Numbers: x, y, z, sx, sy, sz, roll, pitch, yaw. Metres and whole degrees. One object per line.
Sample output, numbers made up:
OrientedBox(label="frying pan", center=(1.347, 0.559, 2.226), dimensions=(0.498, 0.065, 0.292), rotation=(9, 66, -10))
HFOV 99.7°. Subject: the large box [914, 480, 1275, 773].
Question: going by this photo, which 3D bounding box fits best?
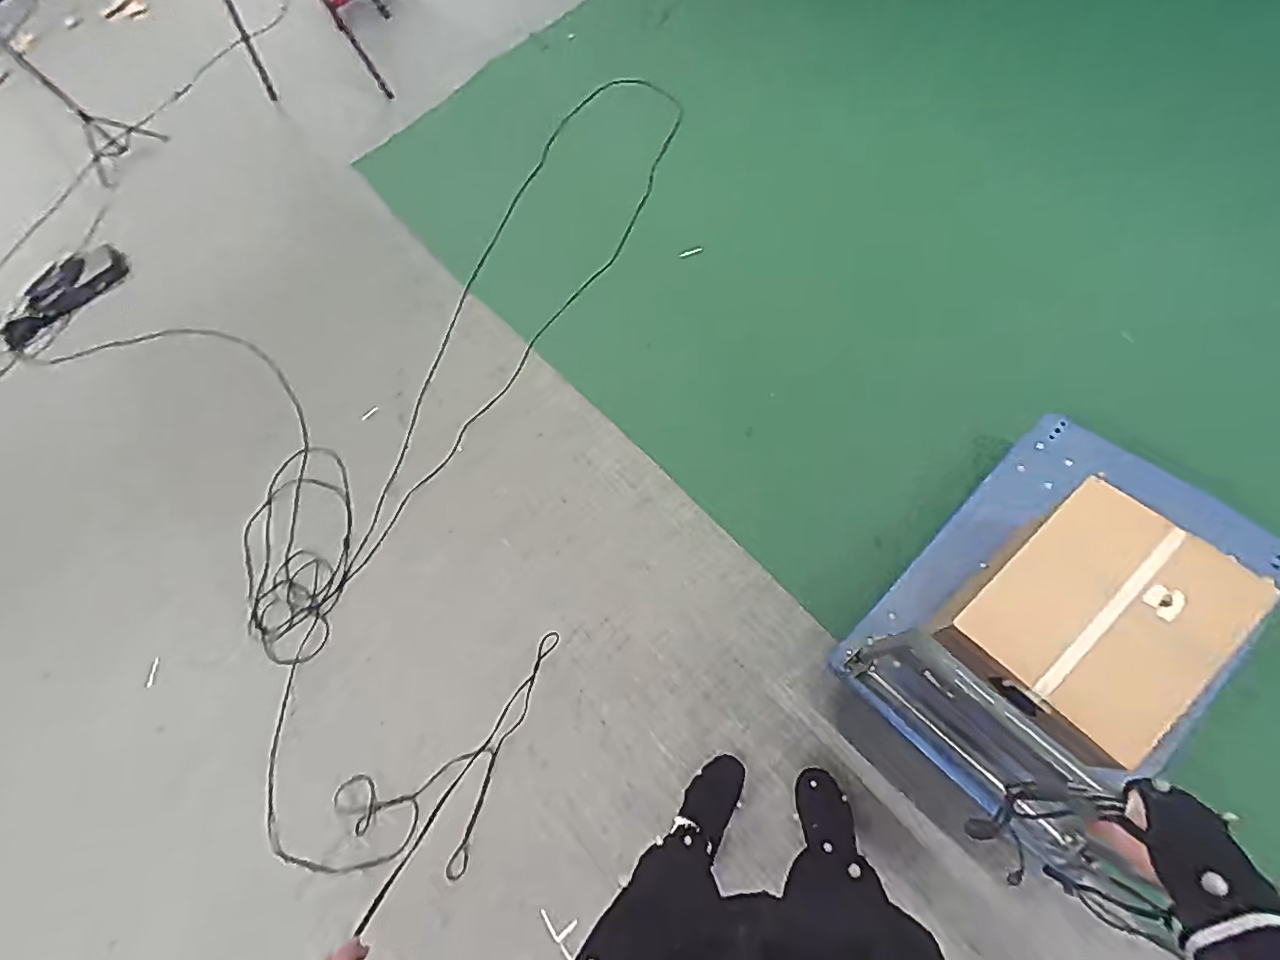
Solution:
OrientedBox(label="large box", center=(0.818, 0.285, 1.043), dimensions=(0.408, 0.320, 0.320), rotation=(-41, 65, -9))
